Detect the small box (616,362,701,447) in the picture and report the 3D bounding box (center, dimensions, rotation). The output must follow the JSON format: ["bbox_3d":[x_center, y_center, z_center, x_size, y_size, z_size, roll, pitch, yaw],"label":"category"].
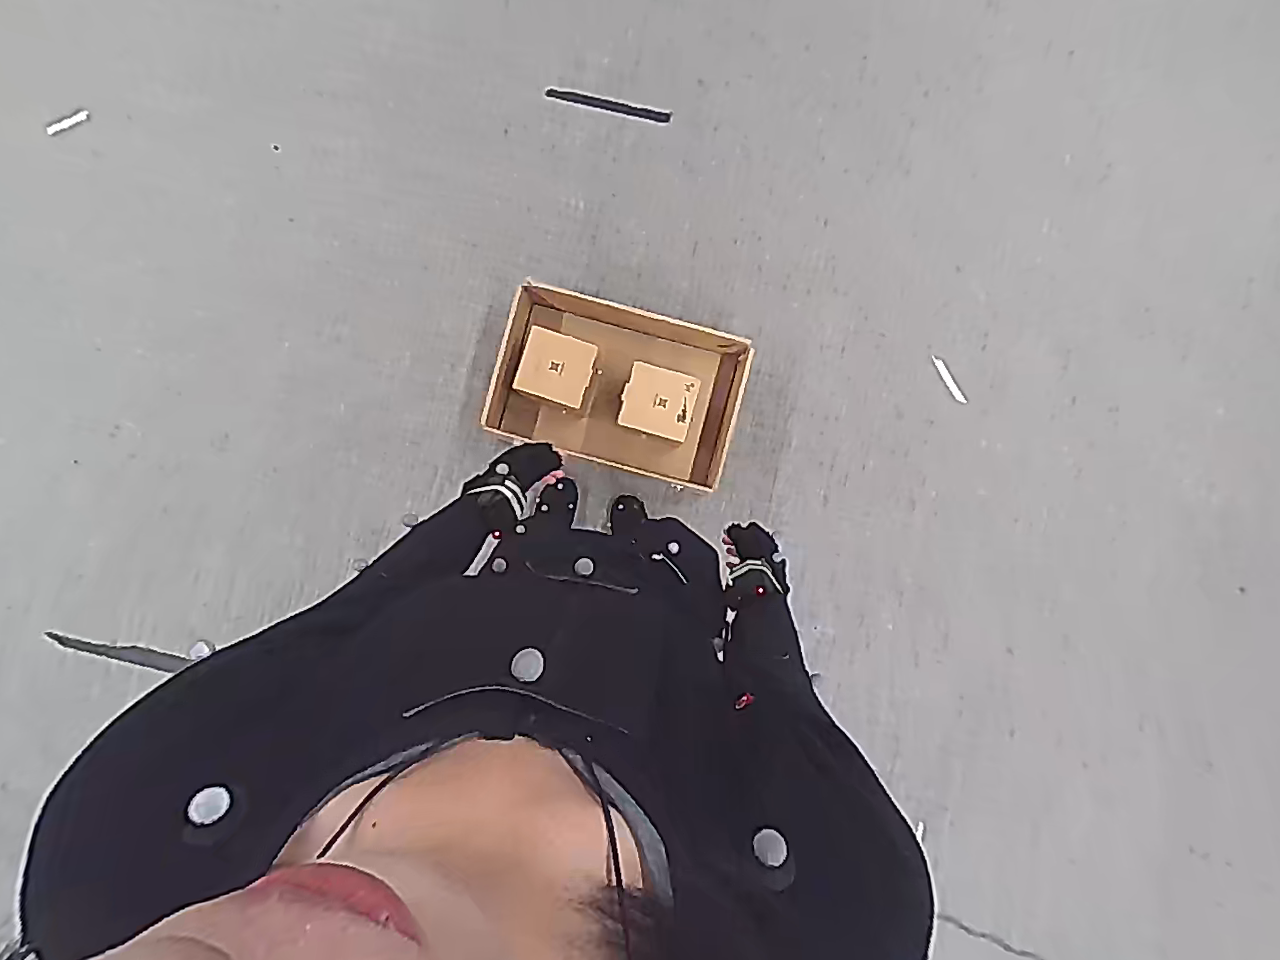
[{"bbox_3d":[0.047,-0.188,1.411,0.179,0.176,0.168,16,89,1],"label":"small box"}]

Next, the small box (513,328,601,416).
[{"bbox_3d":[-0.207,-0.271,1.407,0.179,0.176,0.168,18,88,-1],"label":"small box"}]
